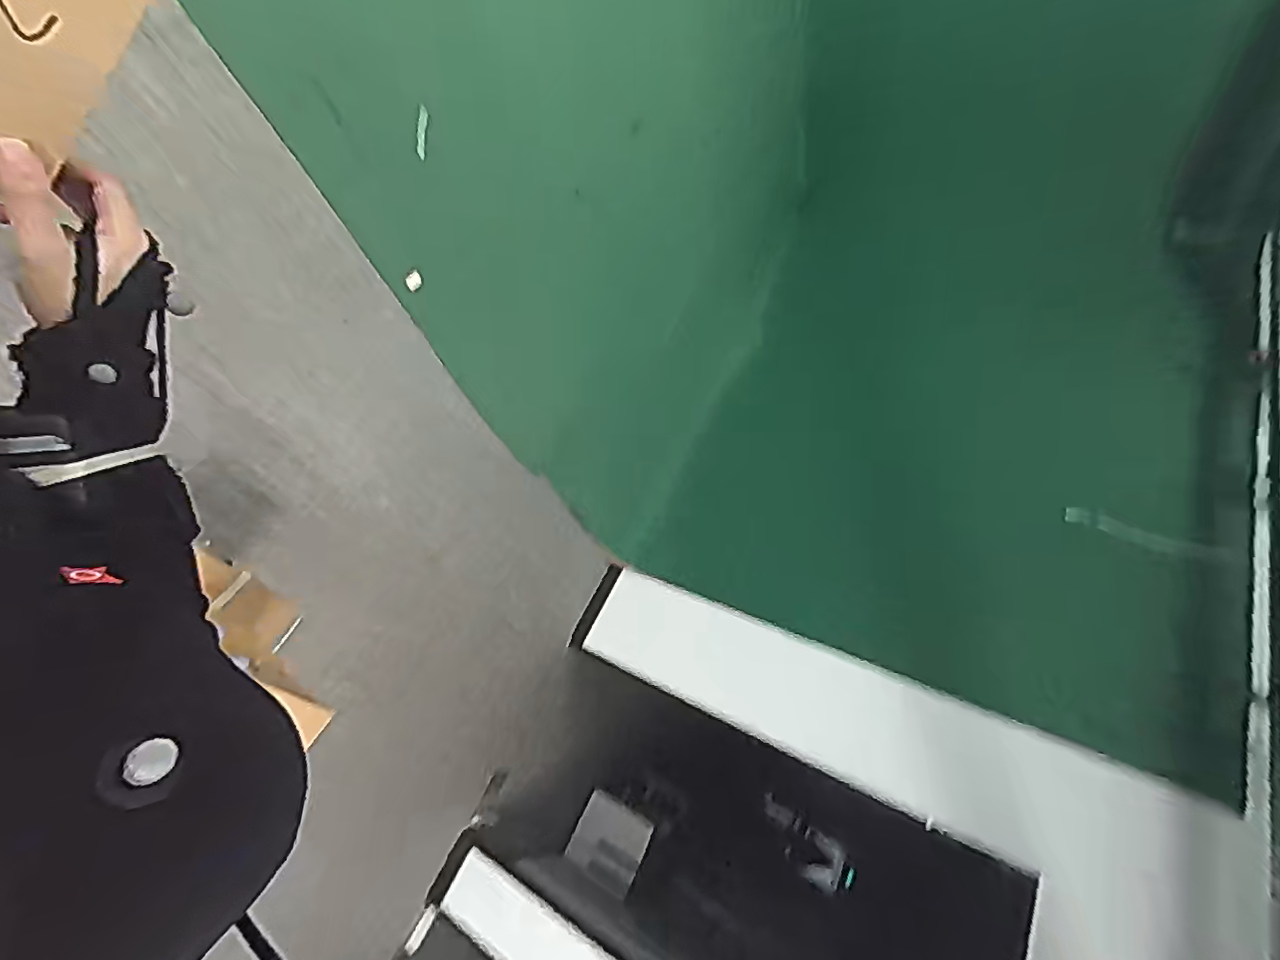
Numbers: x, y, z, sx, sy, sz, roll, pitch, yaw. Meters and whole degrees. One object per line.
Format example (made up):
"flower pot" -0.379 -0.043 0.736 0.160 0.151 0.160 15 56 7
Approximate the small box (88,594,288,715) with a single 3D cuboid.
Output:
"small box" -0.770 0.327 0.929 0.179 0.176 0.168 -52 147 -33

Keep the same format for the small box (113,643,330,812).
"small box" -0.644 0.378 0.840 0.168 0.176 0.179 -56 150 -25

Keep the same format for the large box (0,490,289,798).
"large box" -0.997 0.293 1.018 0.408 0.320 0.320 -55 147 -28
